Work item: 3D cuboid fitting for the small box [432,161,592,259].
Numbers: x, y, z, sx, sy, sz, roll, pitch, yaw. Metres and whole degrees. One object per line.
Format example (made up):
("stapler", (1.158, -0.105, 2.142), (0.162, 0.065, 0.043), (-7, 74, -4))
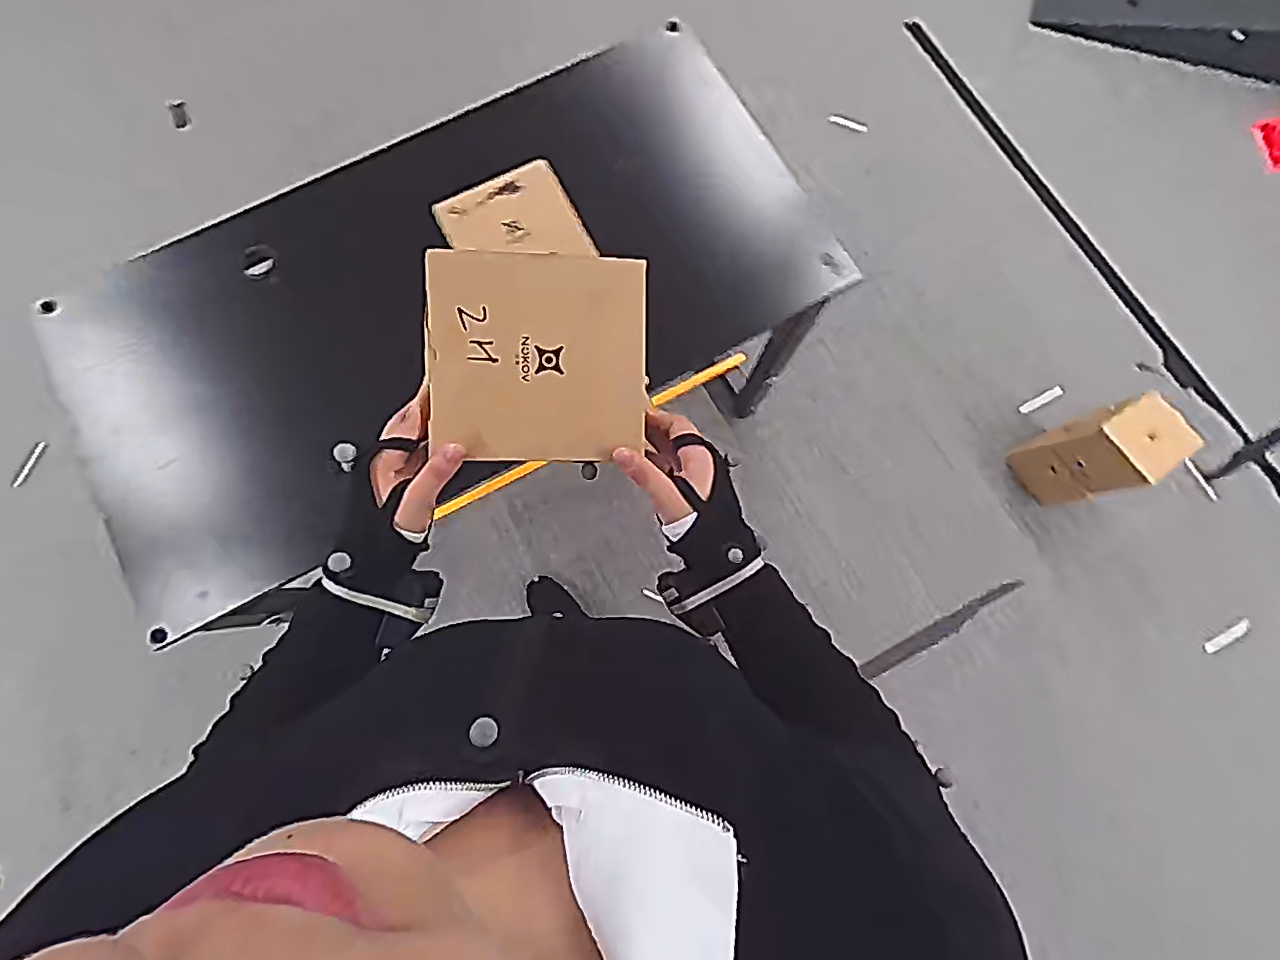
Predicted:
("small box", (-0.169, -0.311, 0.795), (0.168, 0.176, 0.179), (-27, 80, -5))

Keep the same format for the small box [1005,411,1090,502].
("small box", (1.172, -0.058, 1.498), (0.168, 0.176, 0.179), (-31, 81, -6))

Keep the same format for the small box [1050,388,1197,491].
("small box", (1.183, -0.094, 1.340), (0.179, 0.176, 0.168), (-35, 80, -6))

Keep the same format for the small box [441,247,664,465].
("small box", (-0.079, -0.102, 0.513), (0.179, 0.176, 0.168), (1, 93, -6))
